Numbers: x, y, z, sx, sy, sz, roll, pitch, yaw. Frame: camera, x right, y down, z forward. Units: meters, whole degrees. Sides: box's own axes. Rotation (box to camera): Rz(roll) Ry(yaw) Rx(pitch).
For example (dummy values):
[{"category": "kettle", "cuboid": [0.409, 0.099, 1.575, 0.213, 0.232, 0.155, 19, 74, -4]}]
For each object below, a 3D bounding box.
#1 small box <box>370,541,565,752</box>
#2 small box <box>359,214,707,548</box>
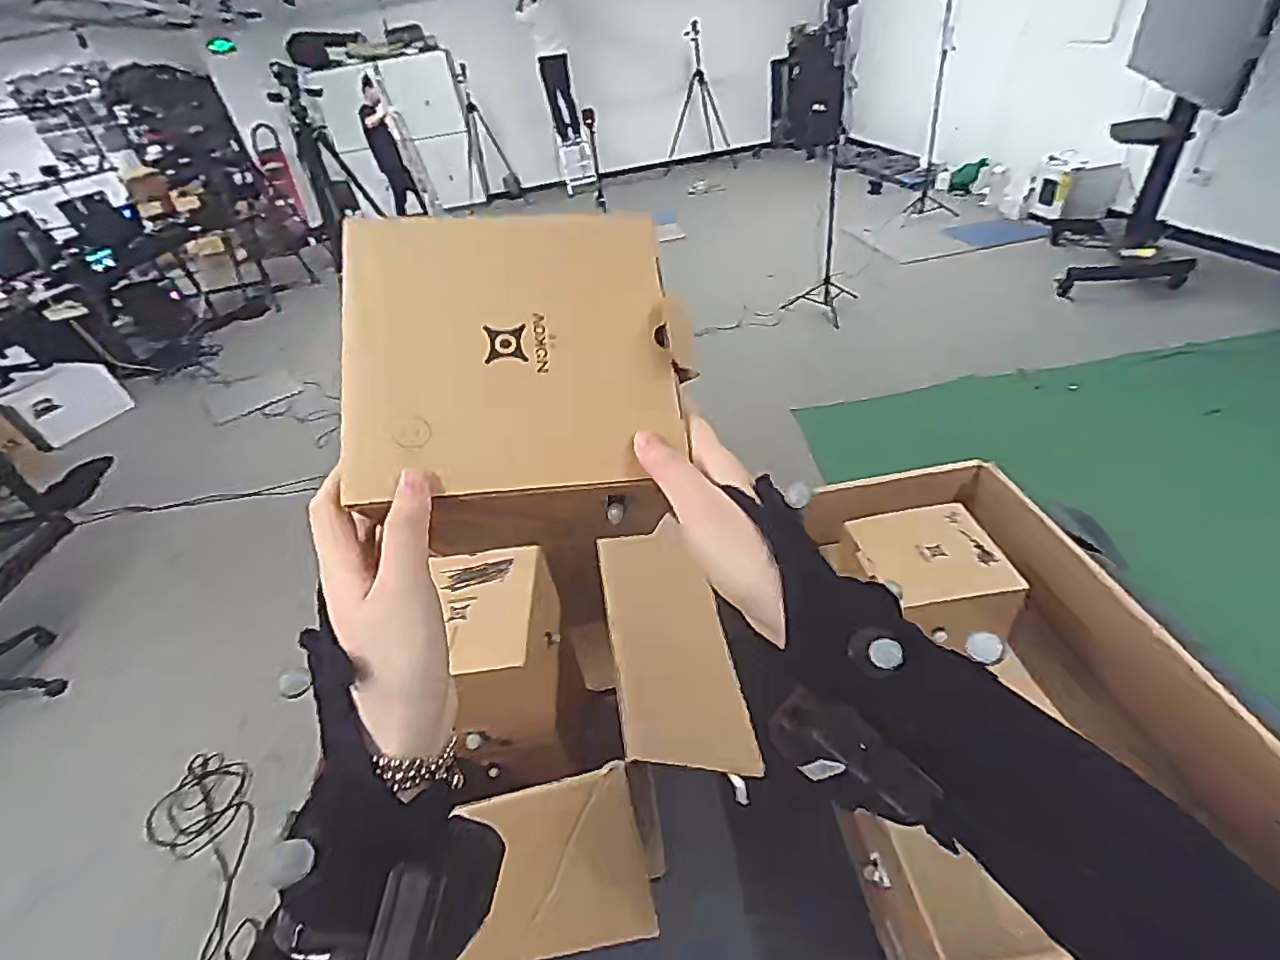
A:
[{"category": "small box", "cuboid": [-0.191, 0.202, 0.662, 0.168, 0.176, 0.179, -8, 41, 2]}, {"category": "small box", "cuboid": [-0.067, -0.051, 0.366, 0.179, 0.176, 0.168, -5, 77, -9]}]
